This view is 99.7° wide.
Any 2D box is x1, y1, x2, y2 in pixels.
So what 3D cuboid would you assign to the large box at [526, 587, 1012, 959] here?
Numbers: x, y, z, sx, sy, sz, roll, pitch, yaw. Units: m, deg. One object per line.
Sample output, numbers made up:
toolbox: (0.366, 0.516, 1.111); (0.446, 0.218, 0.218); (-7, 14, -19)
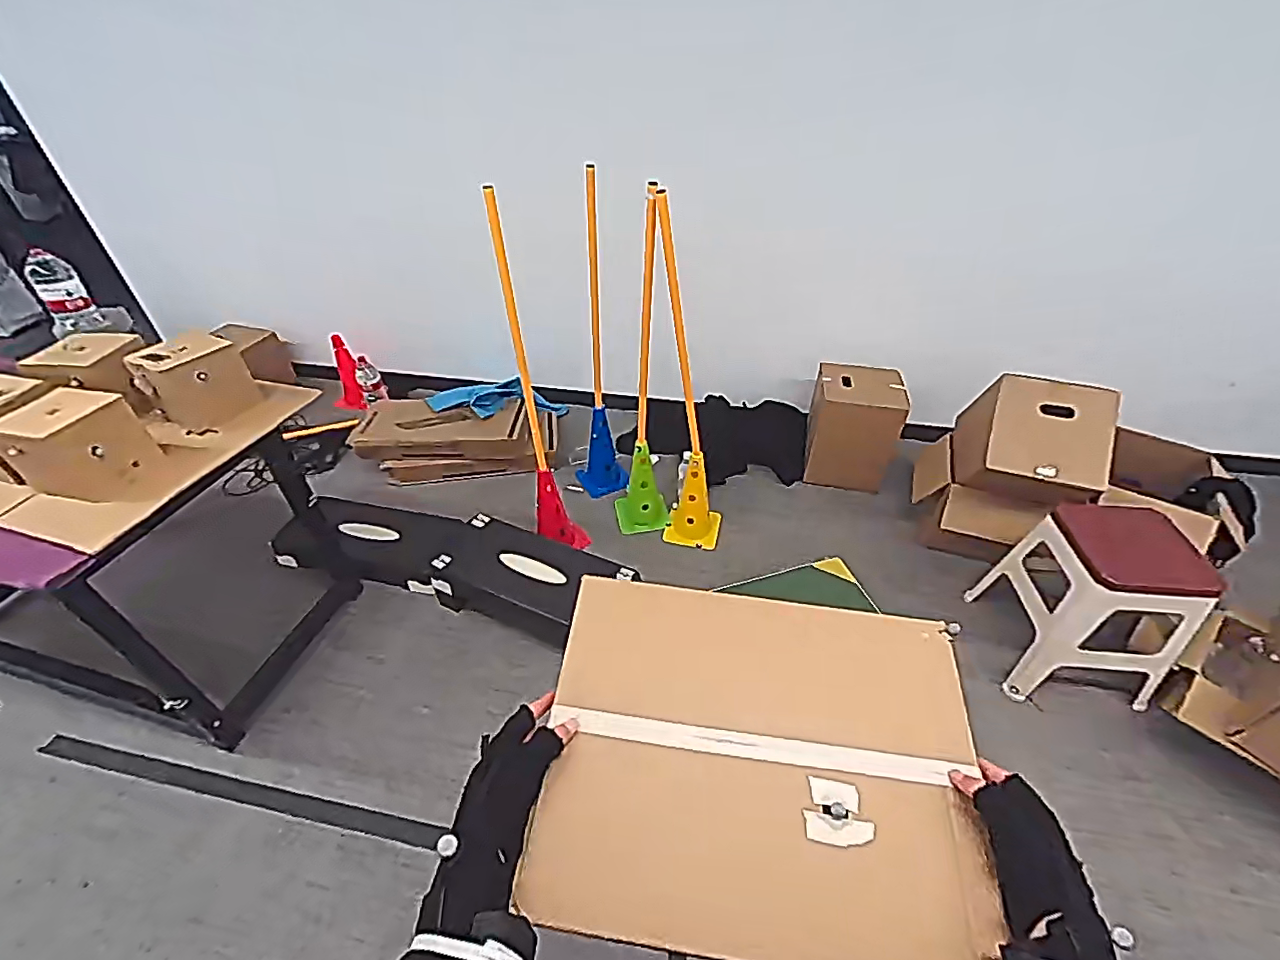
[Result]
large box: (0.115, 0.356, 0.643); (0.408, 0.320, 0.320); (7, 52, 5)
